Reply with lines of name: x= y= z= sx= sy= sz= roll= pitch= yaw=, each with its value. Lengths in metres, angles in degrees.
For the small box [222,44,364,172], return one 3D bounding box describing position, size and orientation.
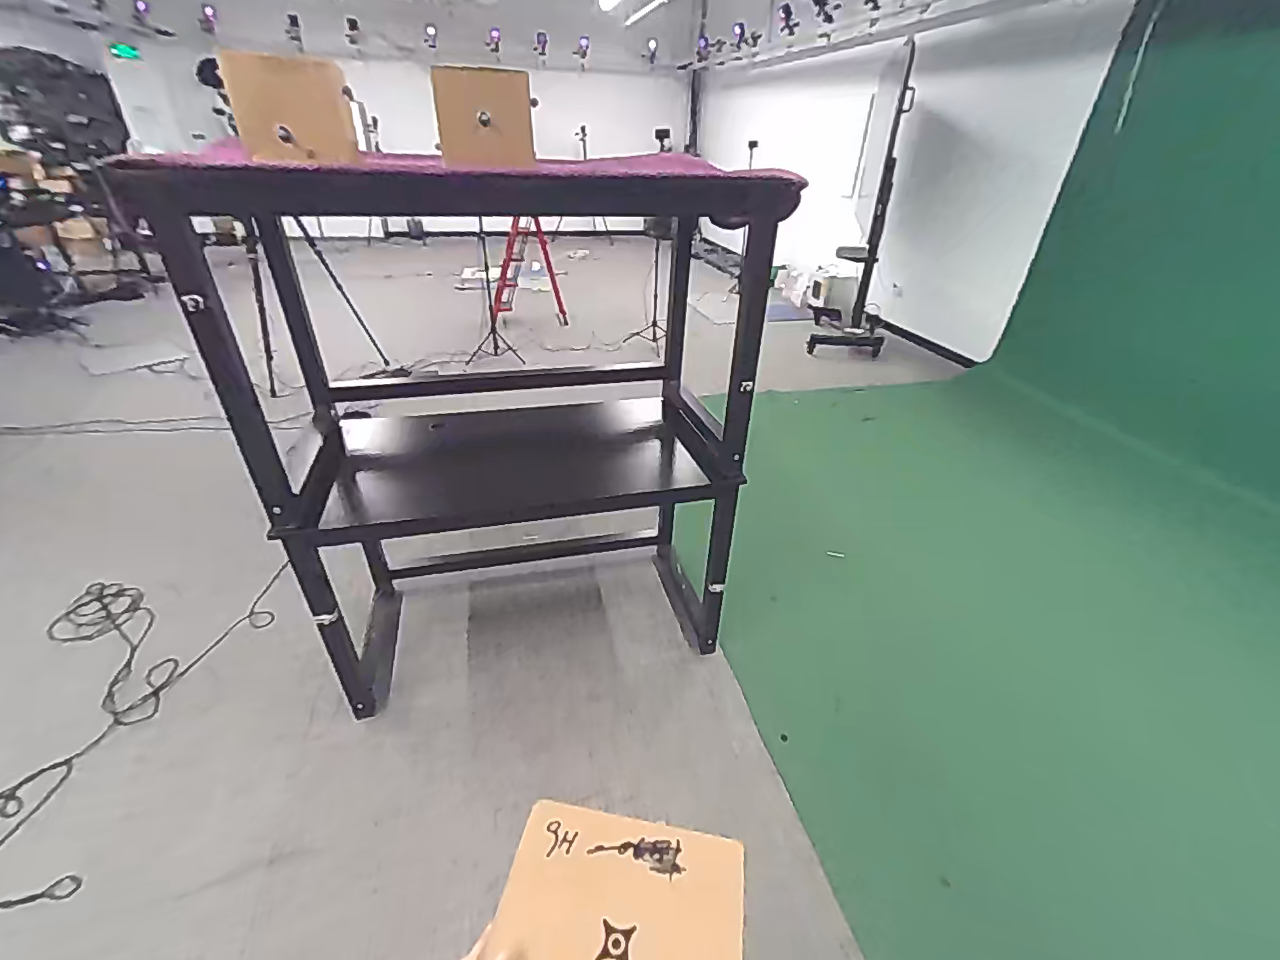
small box: x=-0.615 y=-0.666 z=0.986 sx=0.168 sy=0.176 sz=0.179 roll=-7 pitch=32 yaw=-16
